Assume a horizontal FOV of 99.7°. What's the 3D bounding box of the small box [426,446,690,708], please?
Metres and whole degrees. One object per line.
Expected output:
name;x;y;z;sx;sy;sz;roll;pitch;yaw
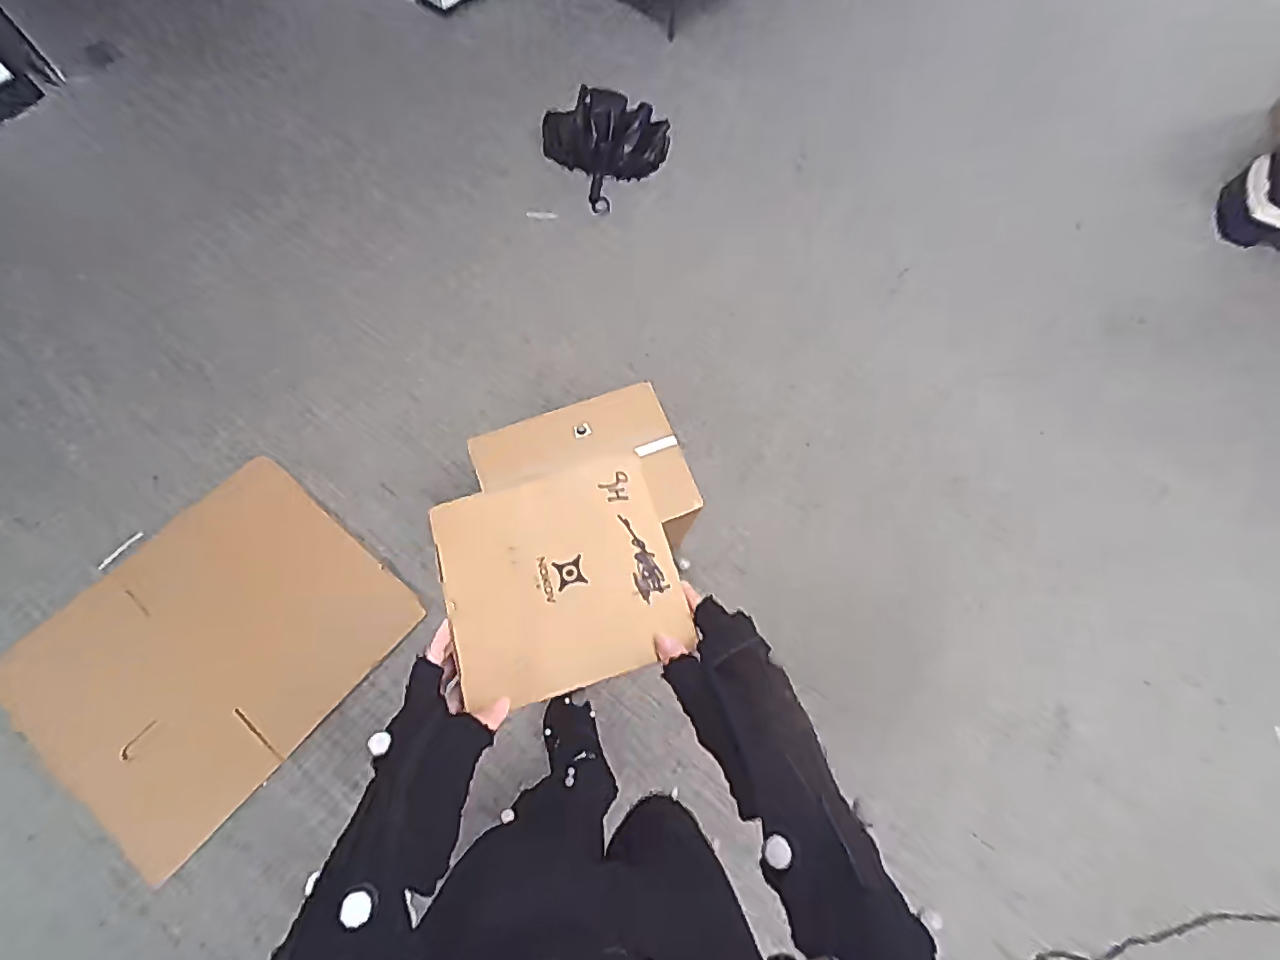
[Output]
small box;-0.067;0.098;0.495;0.179;0.176;0.168;-19;69;-7
